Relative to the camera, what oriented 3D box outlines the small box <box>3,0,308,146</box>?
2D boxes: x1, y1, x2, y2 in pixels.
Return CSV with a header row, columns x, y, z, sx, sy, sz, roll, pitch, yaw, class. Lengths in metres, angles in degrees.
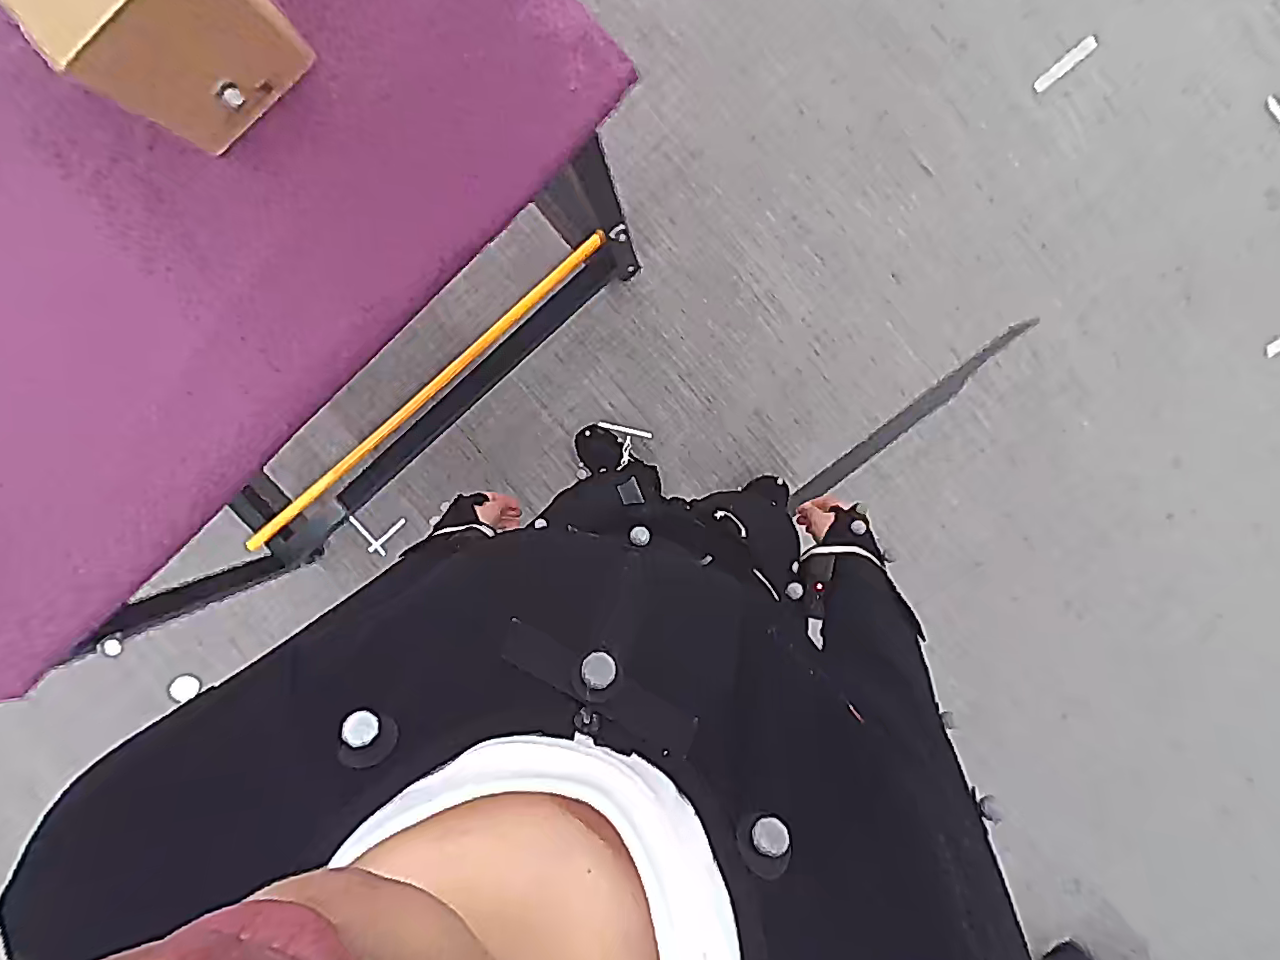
x,y,z,sx,sy,sz,roll,pitch,yaw,class
-0.486,-0.483,0.532,0.168,0.176,0.179,-36,94,7,small box
